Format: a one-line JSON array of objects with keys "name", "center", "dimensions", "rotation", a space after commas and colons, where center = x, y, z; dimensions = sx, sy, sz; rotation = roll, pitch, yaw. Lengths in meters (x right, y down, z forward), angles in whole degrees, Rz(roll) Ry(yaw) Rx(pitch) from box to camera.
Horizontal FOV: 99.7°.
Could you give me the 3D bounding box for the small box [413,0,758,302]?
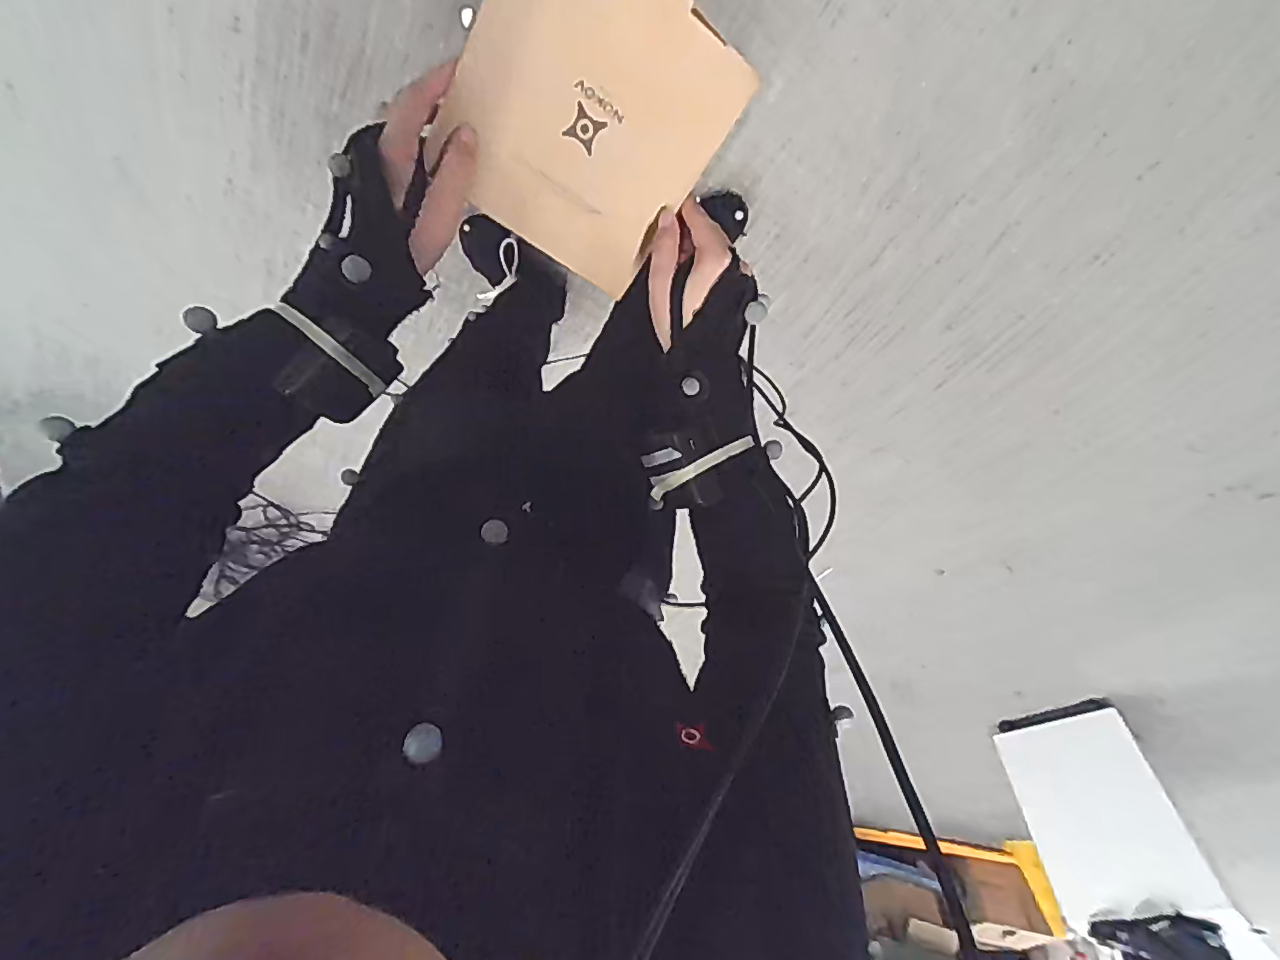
[{"name": "small box", "center": [-0.045, -0.276, 0.413], "dimensions": [0.168, 0.176, 0.179], "rotation": [26, 119, -22]}]
